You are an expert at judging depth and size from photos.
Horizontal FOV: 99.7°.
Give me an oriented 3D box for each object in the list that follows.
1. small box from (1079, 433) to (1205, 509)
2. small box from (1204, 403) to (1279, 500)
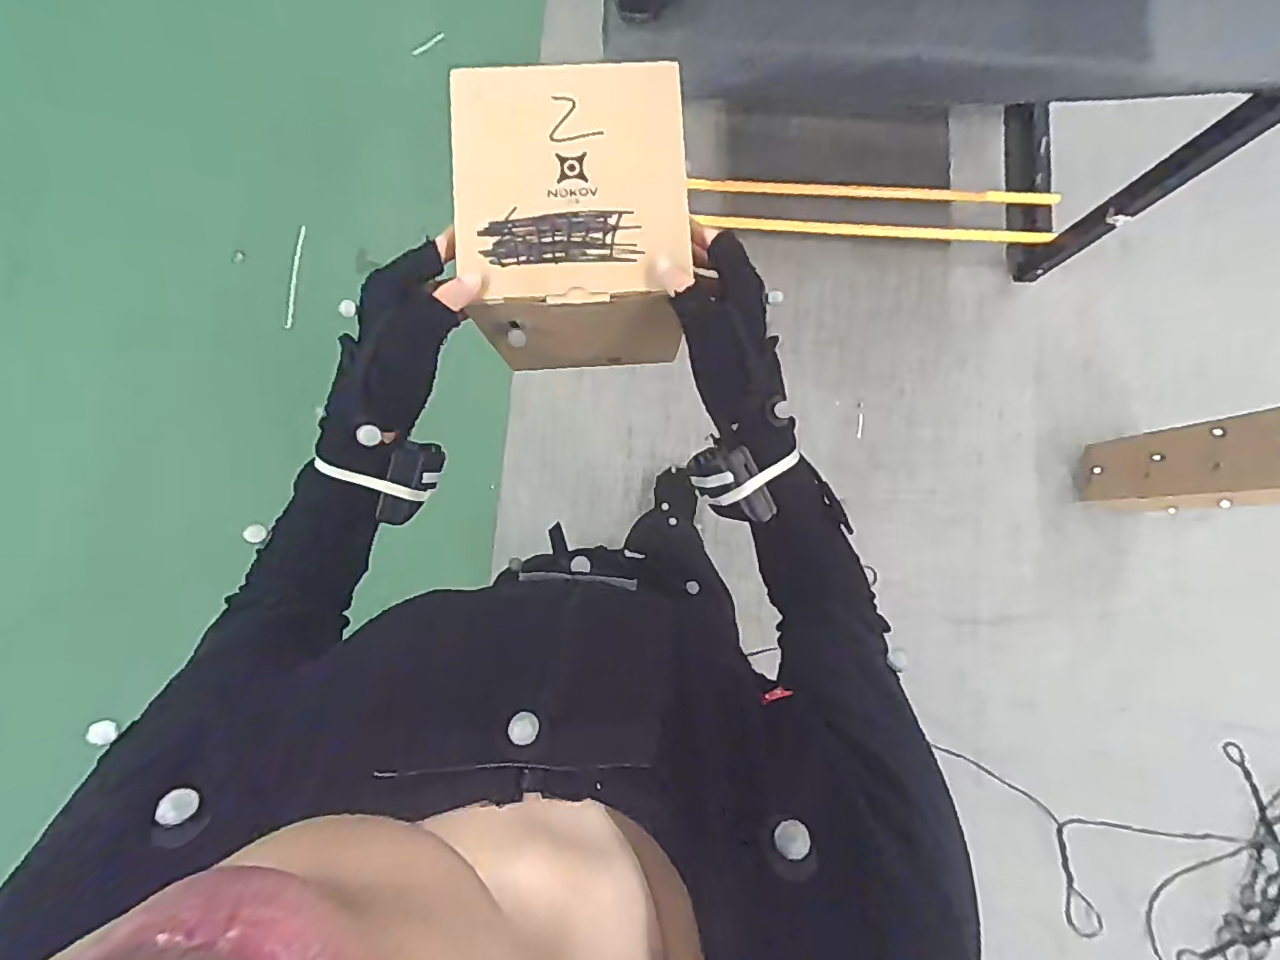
[{"bbox_3d":[1.317,-0.018,1.426,0.179,0.176,0.168,9,84,1],"label":"small box"},{"bbox_3d":[1.316,-0.052,1.101,0.179,0.176,0.168,7,85,1],"label":"small box"}]
